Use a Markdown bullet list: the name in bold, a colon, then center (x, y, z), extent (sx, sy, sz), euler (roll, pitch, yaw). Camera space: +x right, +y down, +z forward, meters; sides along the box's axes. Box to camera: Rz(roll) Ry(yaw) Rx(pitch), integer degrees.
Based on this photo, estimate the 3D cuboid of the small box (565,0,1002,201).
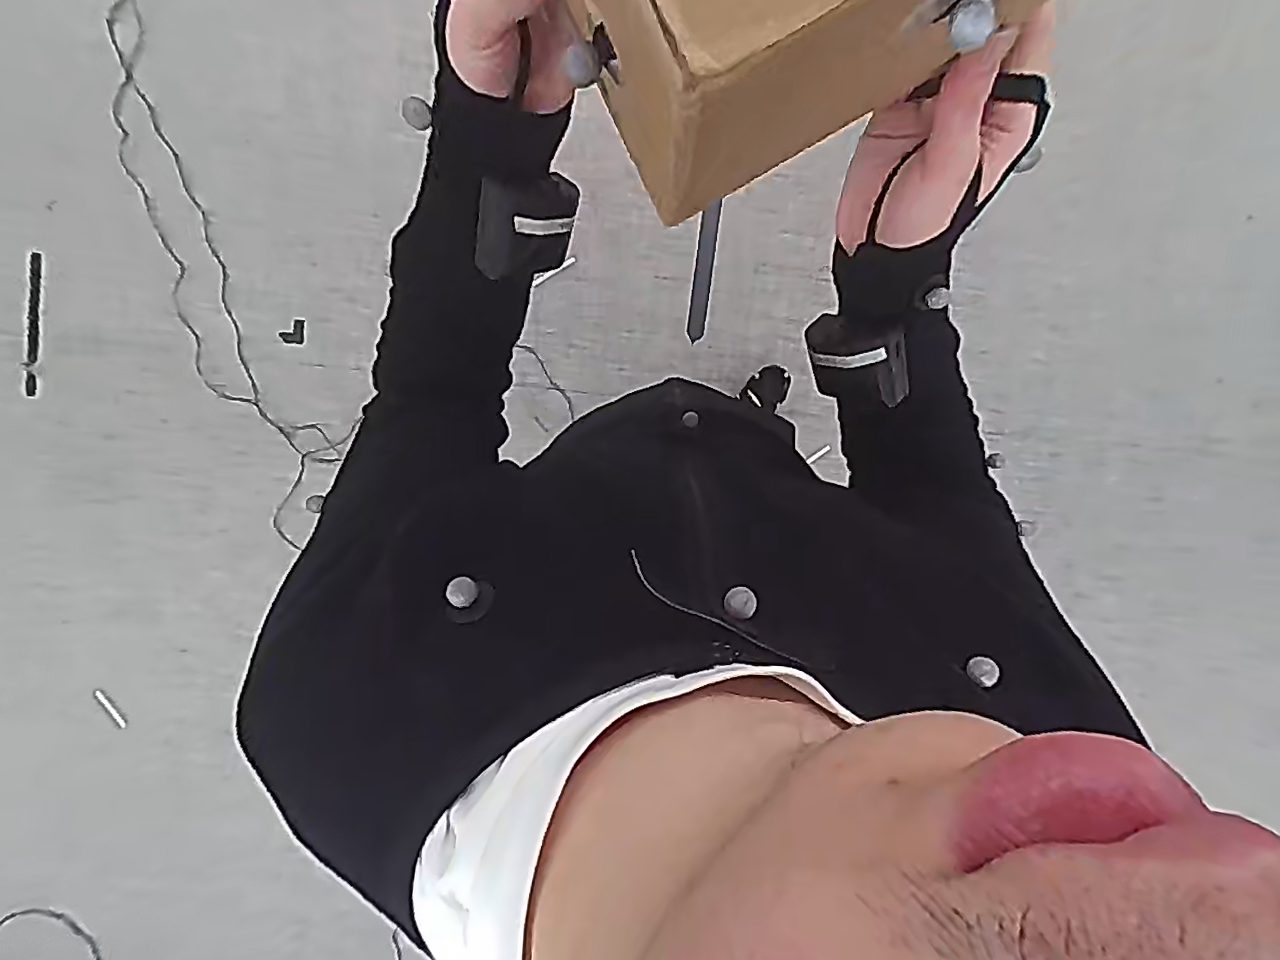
- **small box**: center (0.047, -0.221, 0.172), extent (0.179, 0.176, 0.168), euler (-28, 104, 9)
